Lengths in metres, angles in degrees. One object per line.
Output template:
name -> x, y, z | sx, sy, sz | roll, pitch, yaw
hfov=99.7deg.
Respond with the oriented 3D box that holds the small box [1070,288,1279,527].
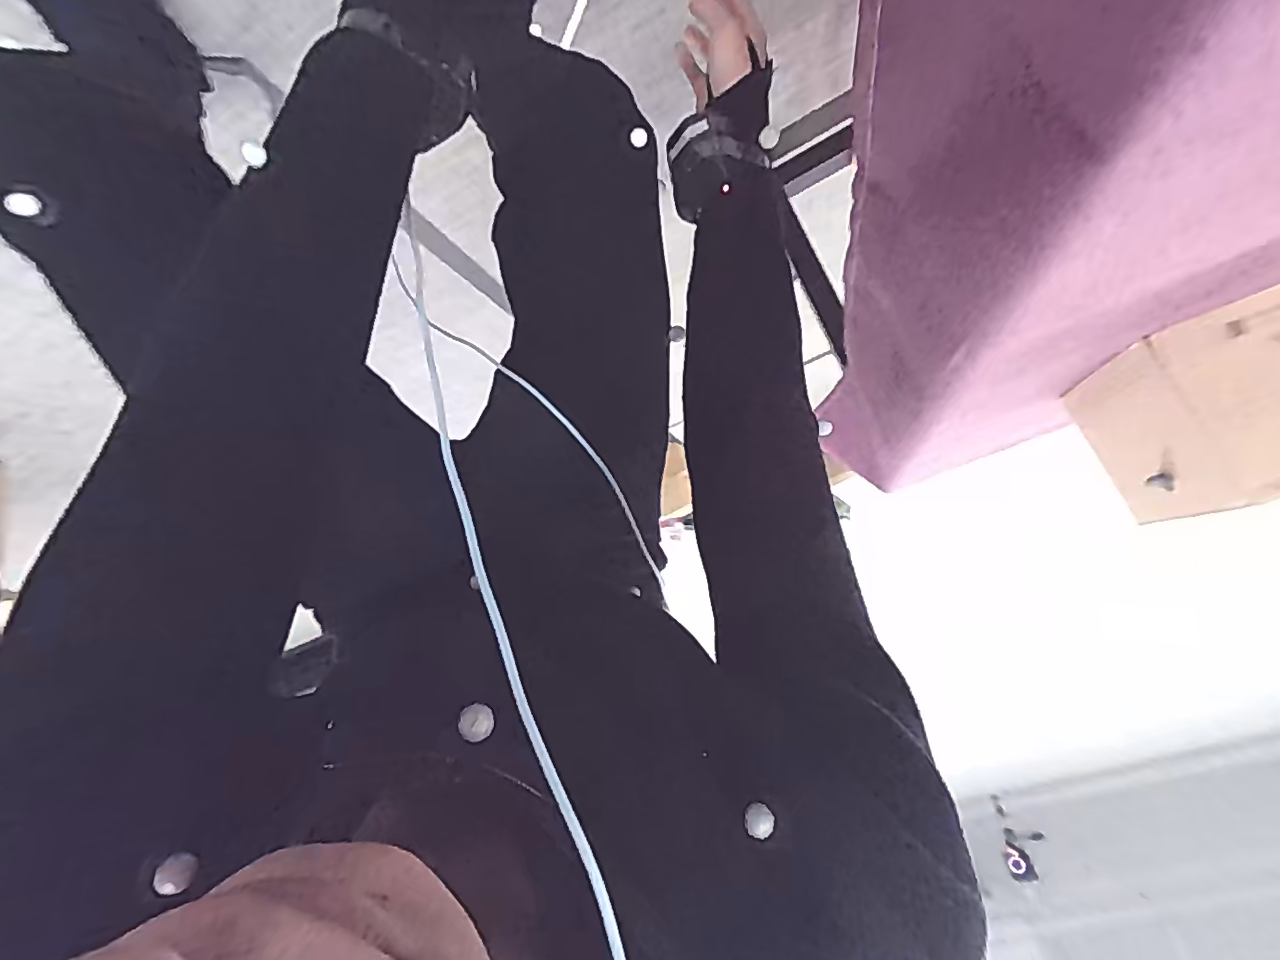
small box -> 0.566, -0.066, 0.520 | 0.168, 0.176, 0.179 | -22, 164, 12
